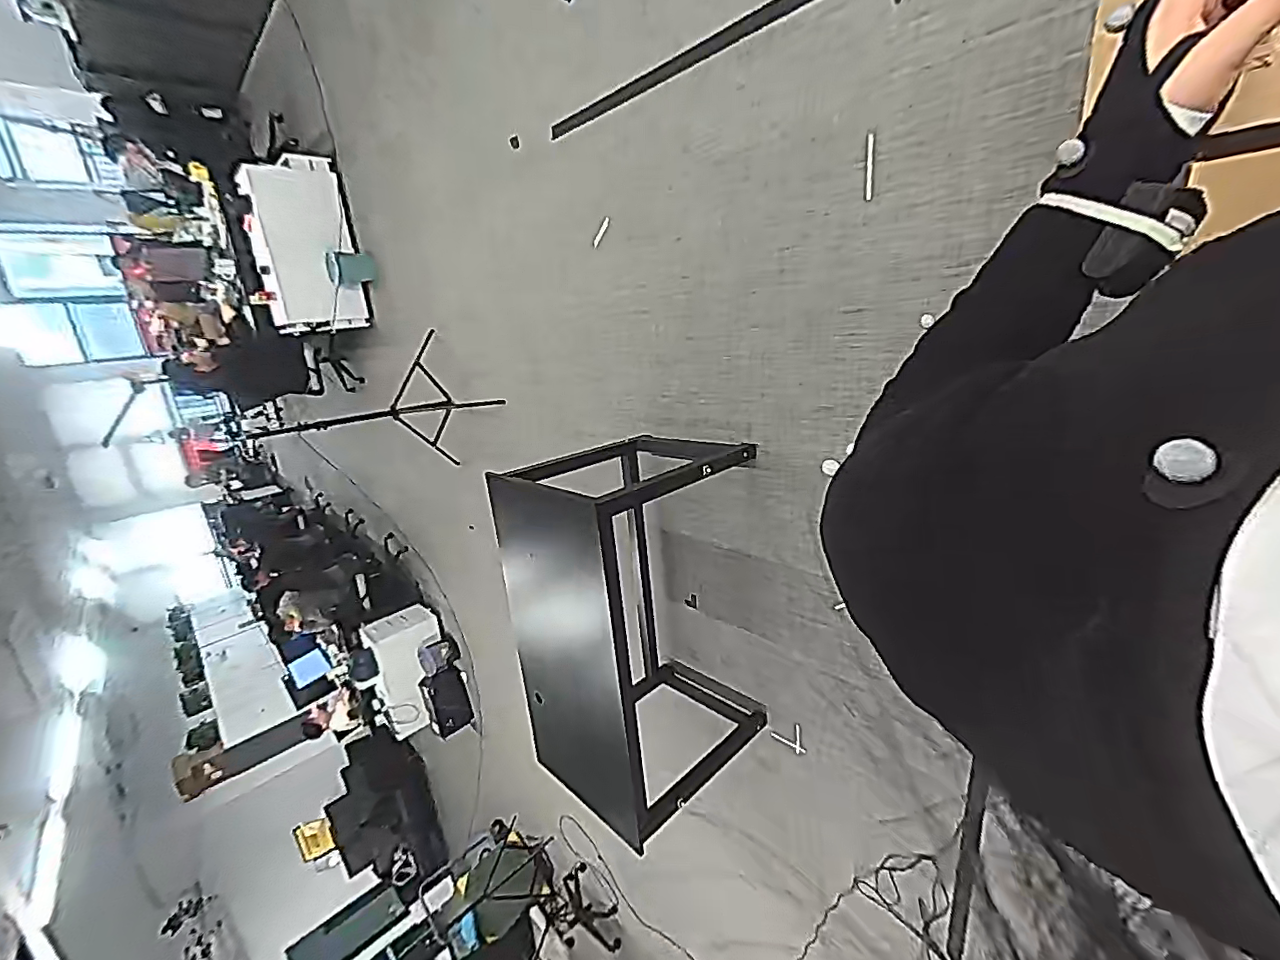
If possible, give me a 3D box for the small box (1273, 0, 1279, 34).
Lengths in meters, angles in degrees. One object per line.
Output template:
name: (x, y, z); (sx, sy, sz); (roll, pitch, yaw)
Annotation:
small box: (0.450, -0.358, 0.258); (0.179, 0.176, 0.168); (5, 114, 46)
